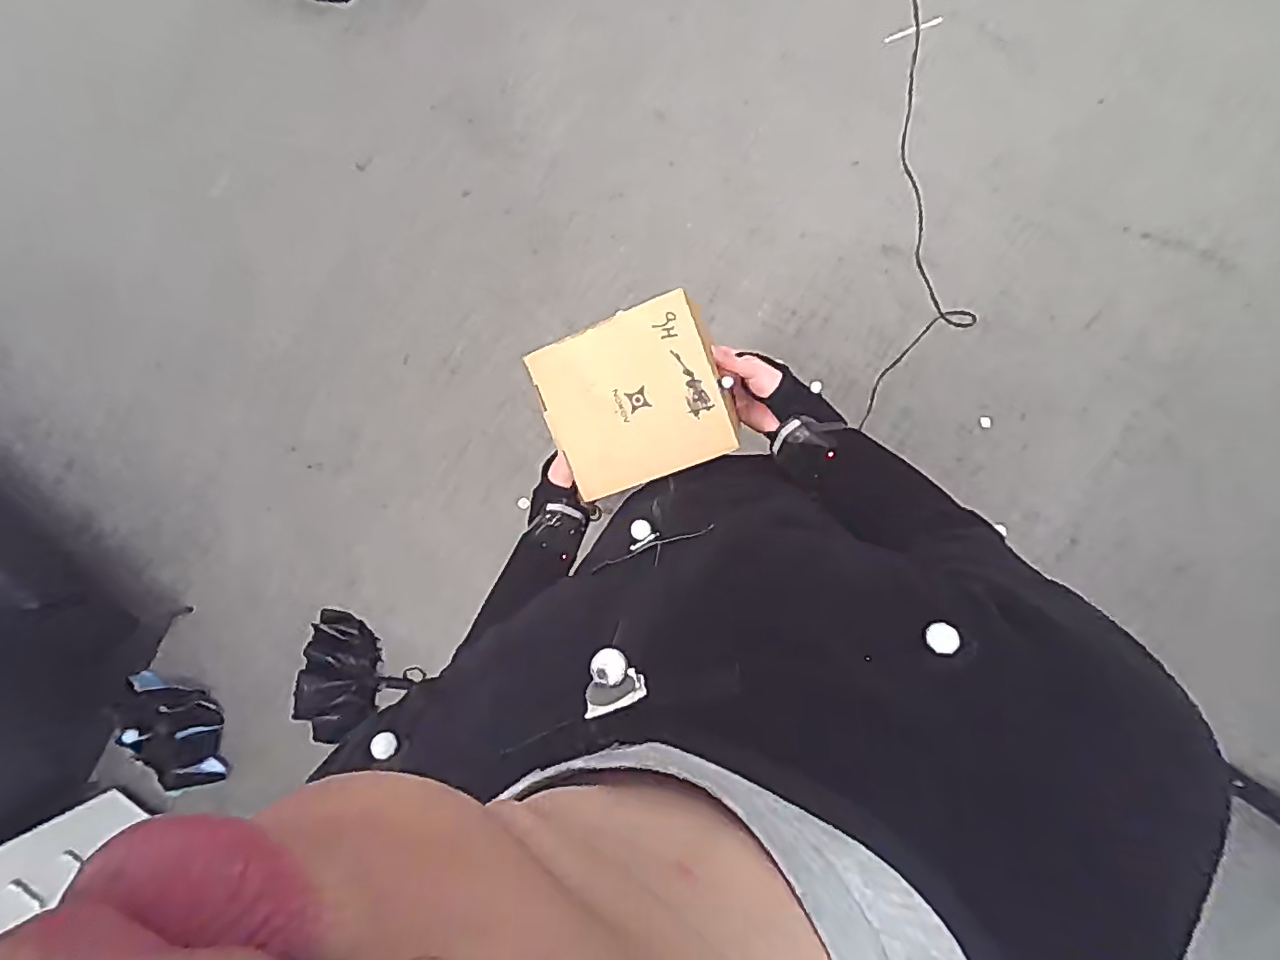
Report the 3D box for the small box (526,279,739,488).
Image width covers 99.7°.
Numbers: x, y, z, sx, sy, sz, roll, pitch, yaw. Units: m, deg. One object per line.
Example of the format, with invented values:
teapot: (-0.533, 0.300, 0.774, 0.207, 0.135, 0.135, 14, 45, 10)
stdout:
small box: (0.005, -0.109, 0.613, 0.179, 0.176, 0.168, -18, 102, 16)
